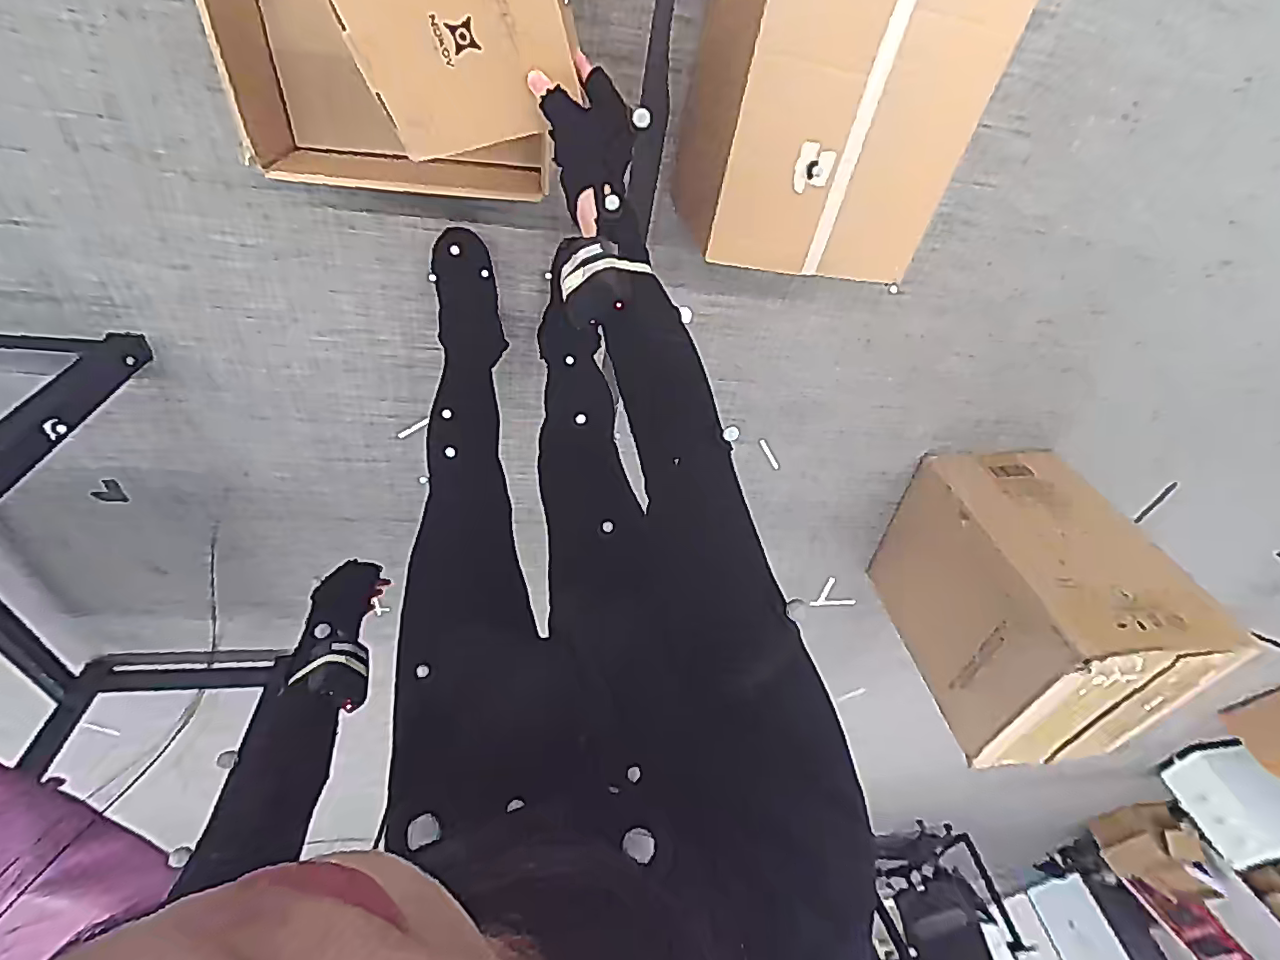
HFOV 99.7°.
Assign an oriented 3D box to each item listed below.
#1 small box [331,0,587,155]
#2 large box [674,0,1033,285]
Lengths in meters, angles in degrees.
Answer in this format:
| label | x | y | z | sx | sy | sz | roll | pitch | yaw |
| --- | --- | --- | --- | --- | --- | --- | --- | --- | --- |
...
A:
| label | x | y | z | sx | sy | sz | roll | pitch | yaw |
| --- | --- | --- | --- | --- | --- | --- | --- | --- | --- |
| small box | -0.150 | -0.427 | 0.476 | 0.179 | 0.176 | 0.168 | -10 | 147 | 6 |
| large box | 0.254 | -0.548 | 0.770 | 0.320 | 0.320 | 0.408 | 3 | 132 | -11 |
